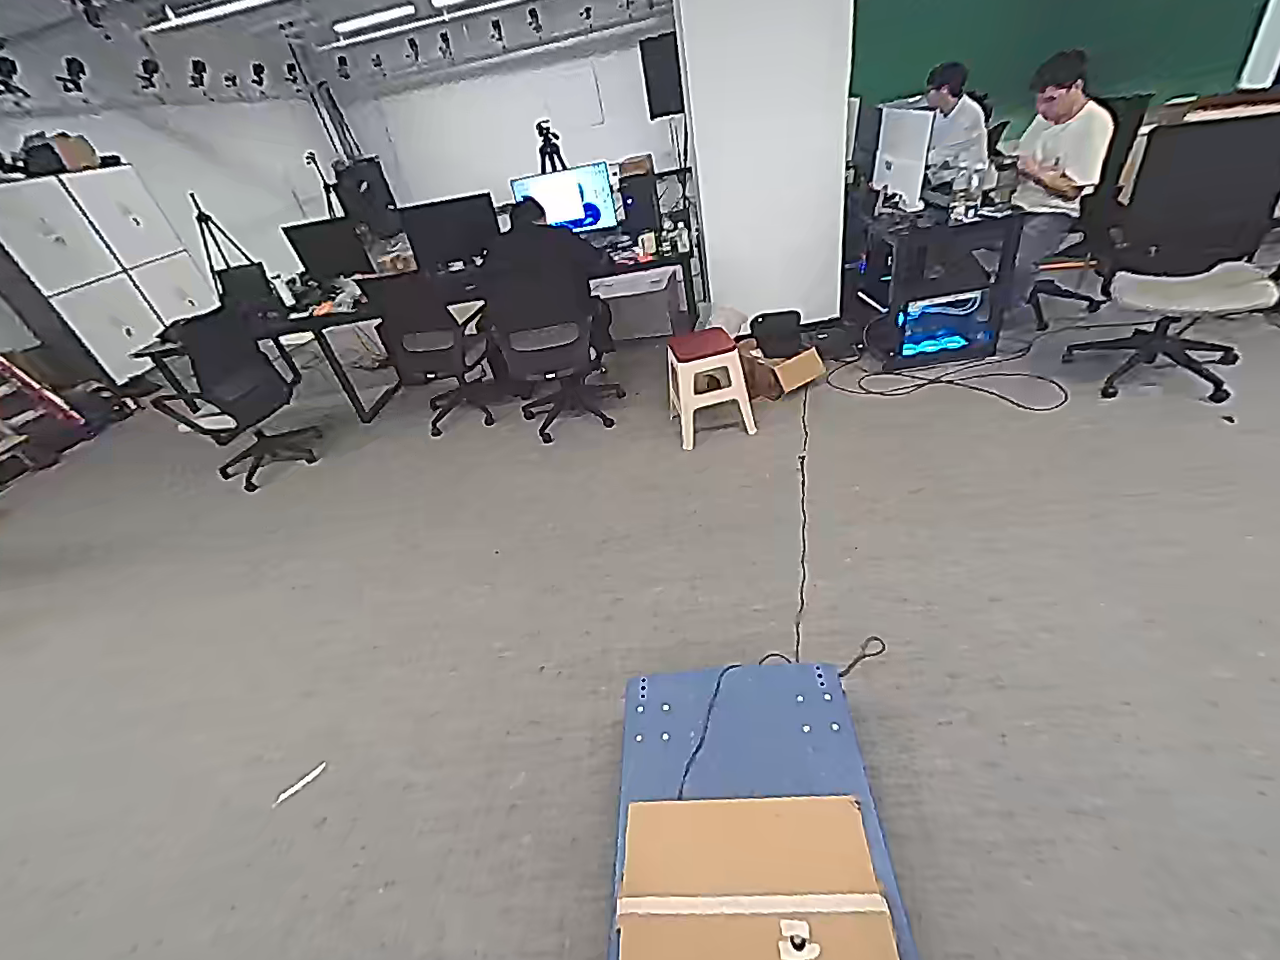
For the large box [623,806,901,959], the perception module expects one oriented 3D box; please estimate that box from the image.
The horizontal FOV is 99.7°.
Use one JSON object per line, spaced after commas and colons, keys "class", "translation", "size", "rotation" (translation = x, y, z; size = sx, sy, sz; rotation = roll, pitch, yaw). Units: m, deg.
{"class": "large box", "translation": [0.194, 0.784, 0.900], "size": [0.408, 0.320, 0.320], "rotation": [-6, 36, 8]}
